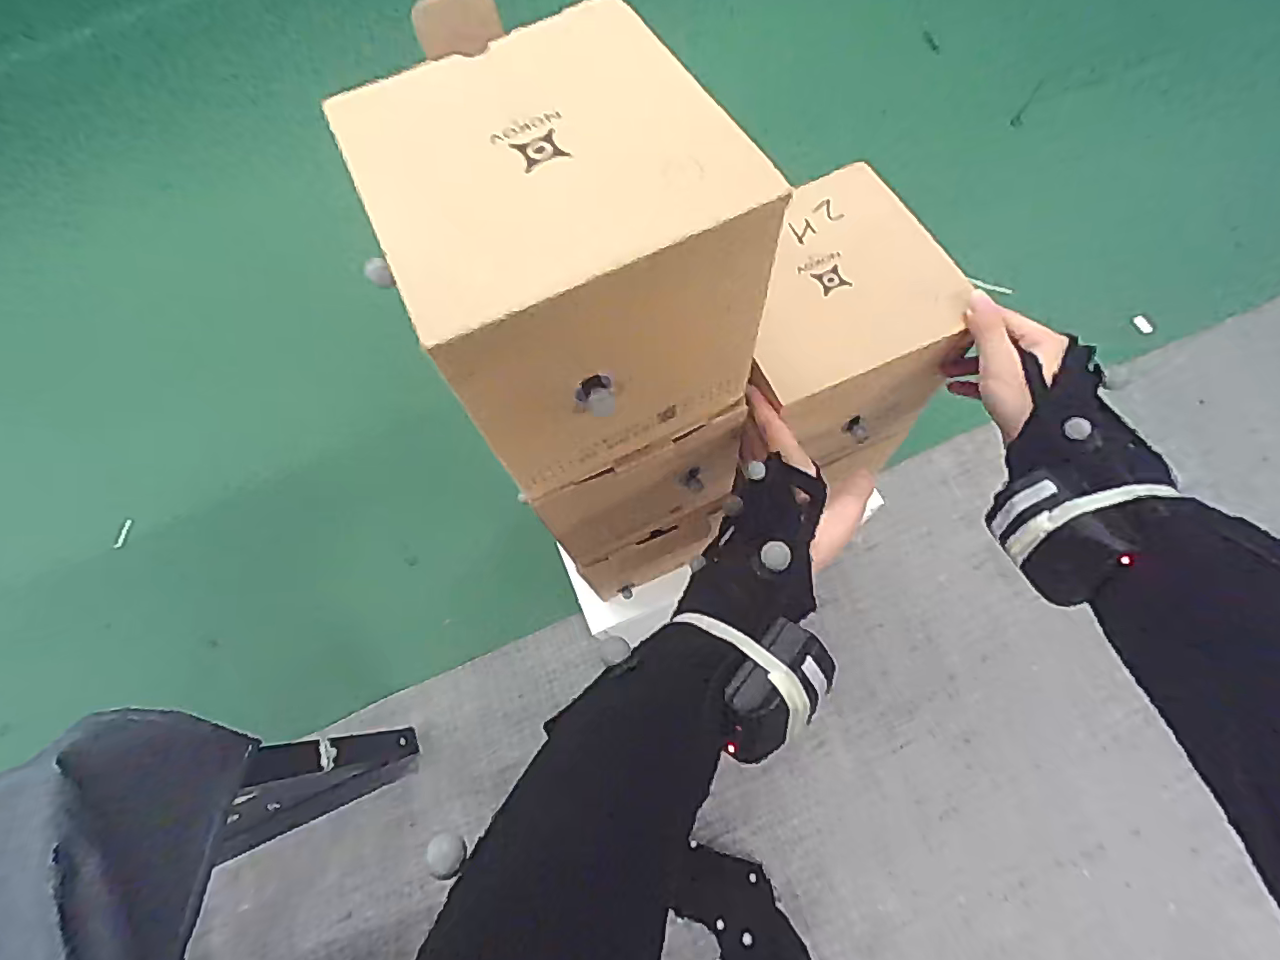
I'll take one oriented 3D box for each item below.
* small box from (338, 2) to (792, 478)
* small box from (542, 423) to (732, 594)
[{"bbox_3d":[-0.037,-0.120,0.322,0.168,0.176,0.179,-26,67,-7],"label":"small box"},{"bbox_3d":[-0.008,0.017,0.615,0.168,0.176,0.179,-22,66,-5],"label":"small box"}]
